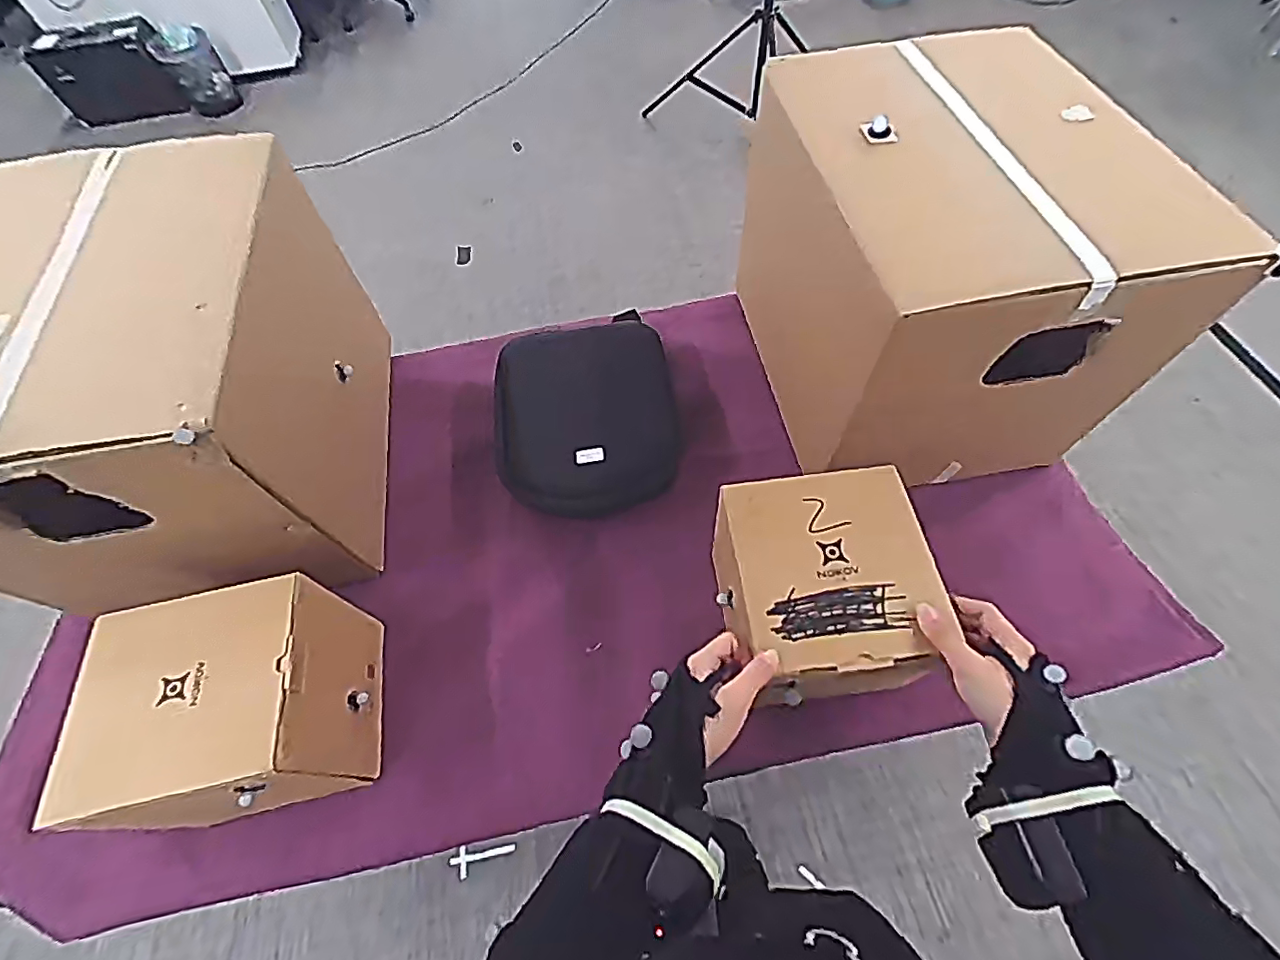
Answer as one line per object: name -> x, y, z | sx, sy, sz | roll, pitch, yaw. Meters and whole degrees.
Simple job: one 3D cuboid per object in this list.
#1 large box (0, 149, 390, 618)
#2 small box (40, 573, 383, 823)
large box -> -0.500, -0.095, 0.616 | 0.320, 0.320, 0.408 | -12, 62, -5
small box -> -0.371, 0.212, 0.512 | 0.179, 0.176, 0.168 | -13, 59, -5
